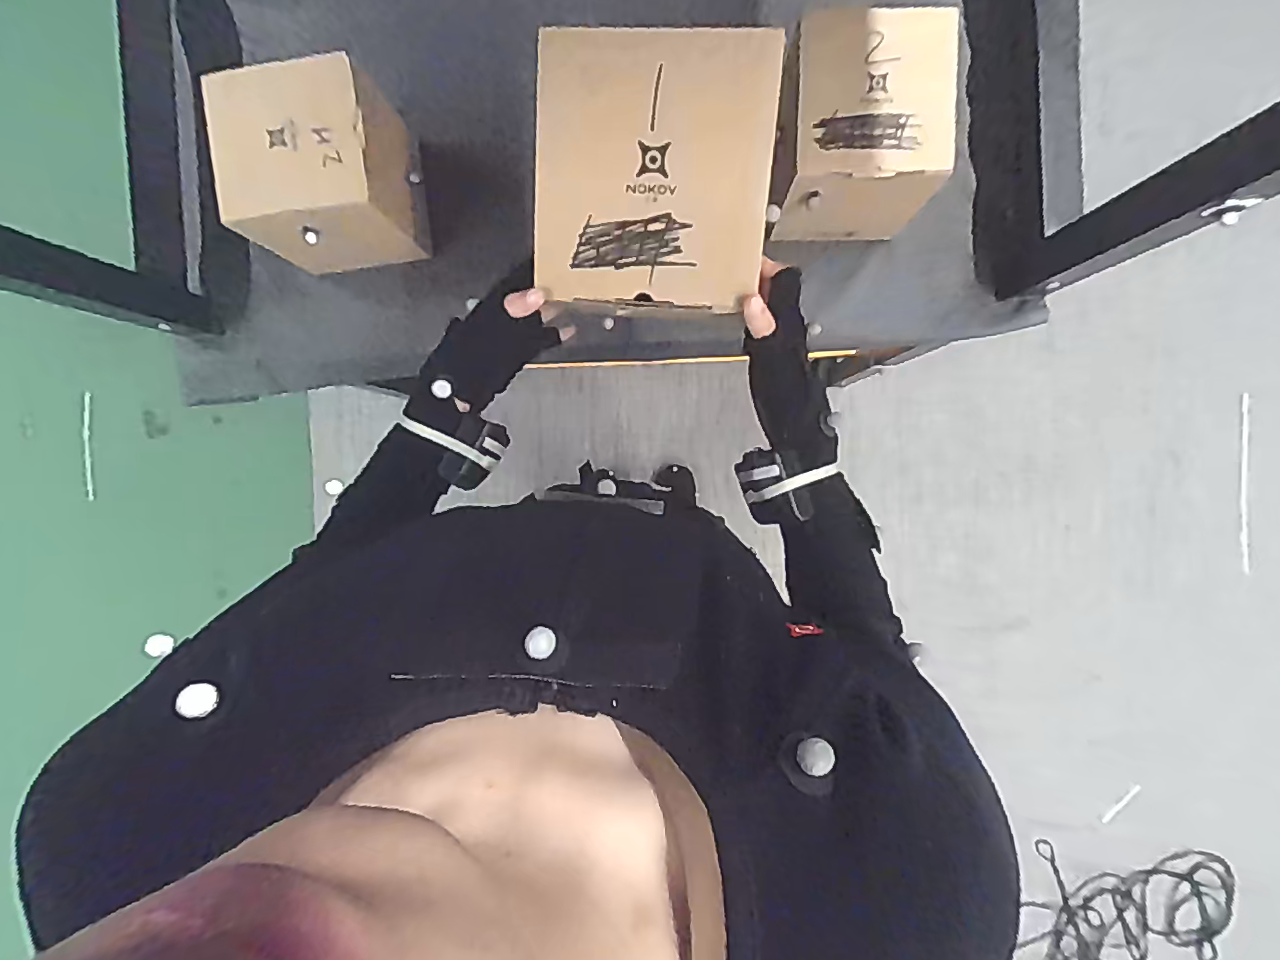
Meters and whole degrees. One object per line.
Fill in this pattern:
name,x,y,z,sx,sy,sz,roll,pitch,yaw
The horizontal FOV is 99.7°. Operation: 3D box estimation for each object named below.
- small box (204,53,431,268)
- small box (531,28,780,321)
small box,-0.391,-0.384,0.682,0.179,0.176,0.168,-7,92,2
small box,0.015,-0.231,0.455,0.168,0.176,0.179,6,103,5
